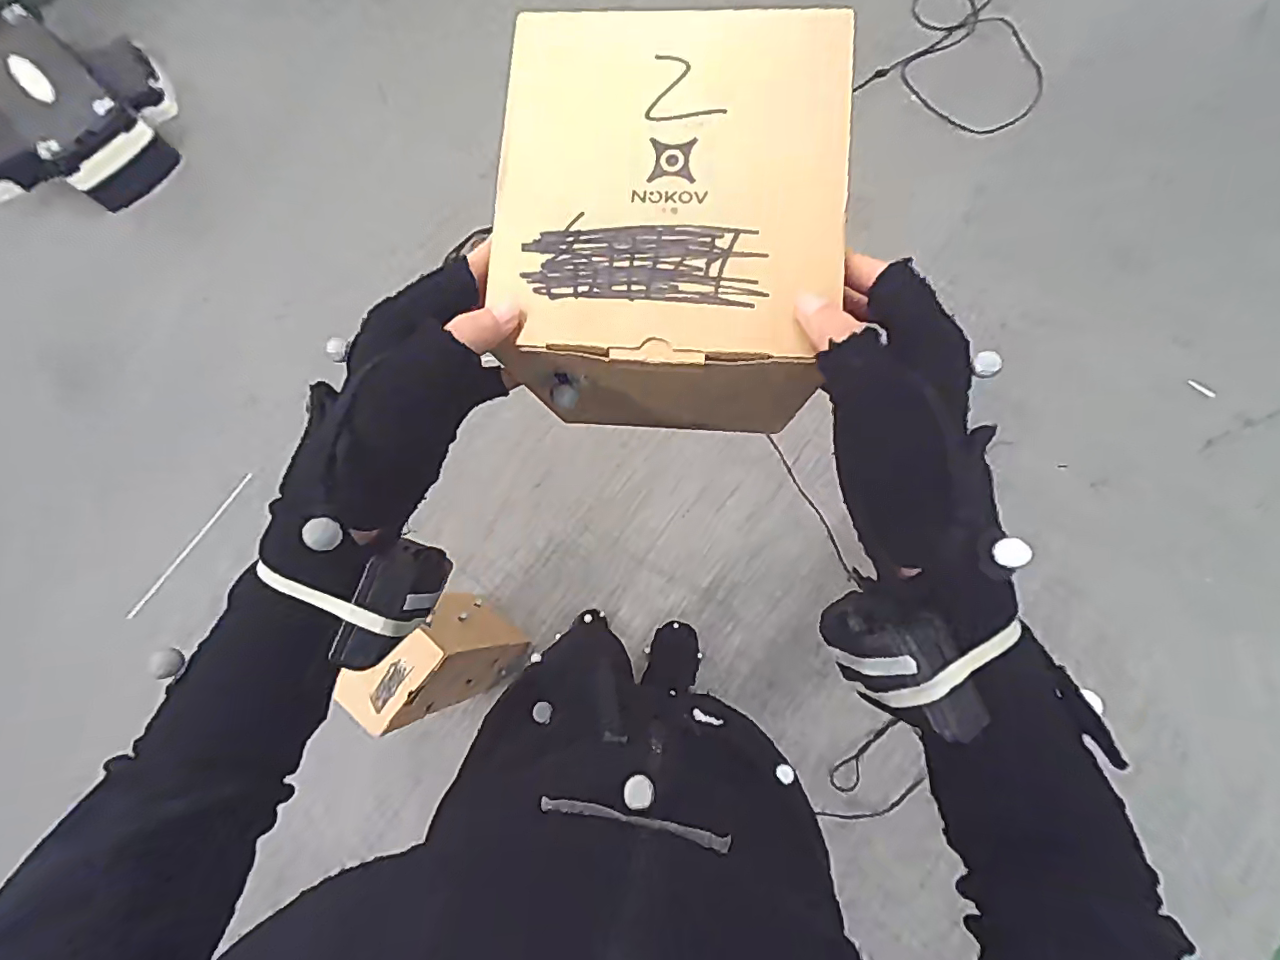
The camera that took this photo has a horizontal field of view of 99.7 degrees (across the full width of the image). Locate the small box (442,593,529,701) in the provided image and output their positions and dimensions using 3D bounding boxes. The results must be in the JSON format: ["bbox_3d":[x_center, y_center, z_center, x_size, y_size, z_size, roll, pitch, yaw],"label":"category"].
[{"bbox_3d":[-0.394,0.387,1.274,0.179,0.176,0.168,40,83,12],"label":"small box"}]

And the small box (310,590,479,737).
[{"bbox_3d":[-0.420,0.313,0.957,0.179,0.176,0.168,38,81,12],"label":"small box"}]
